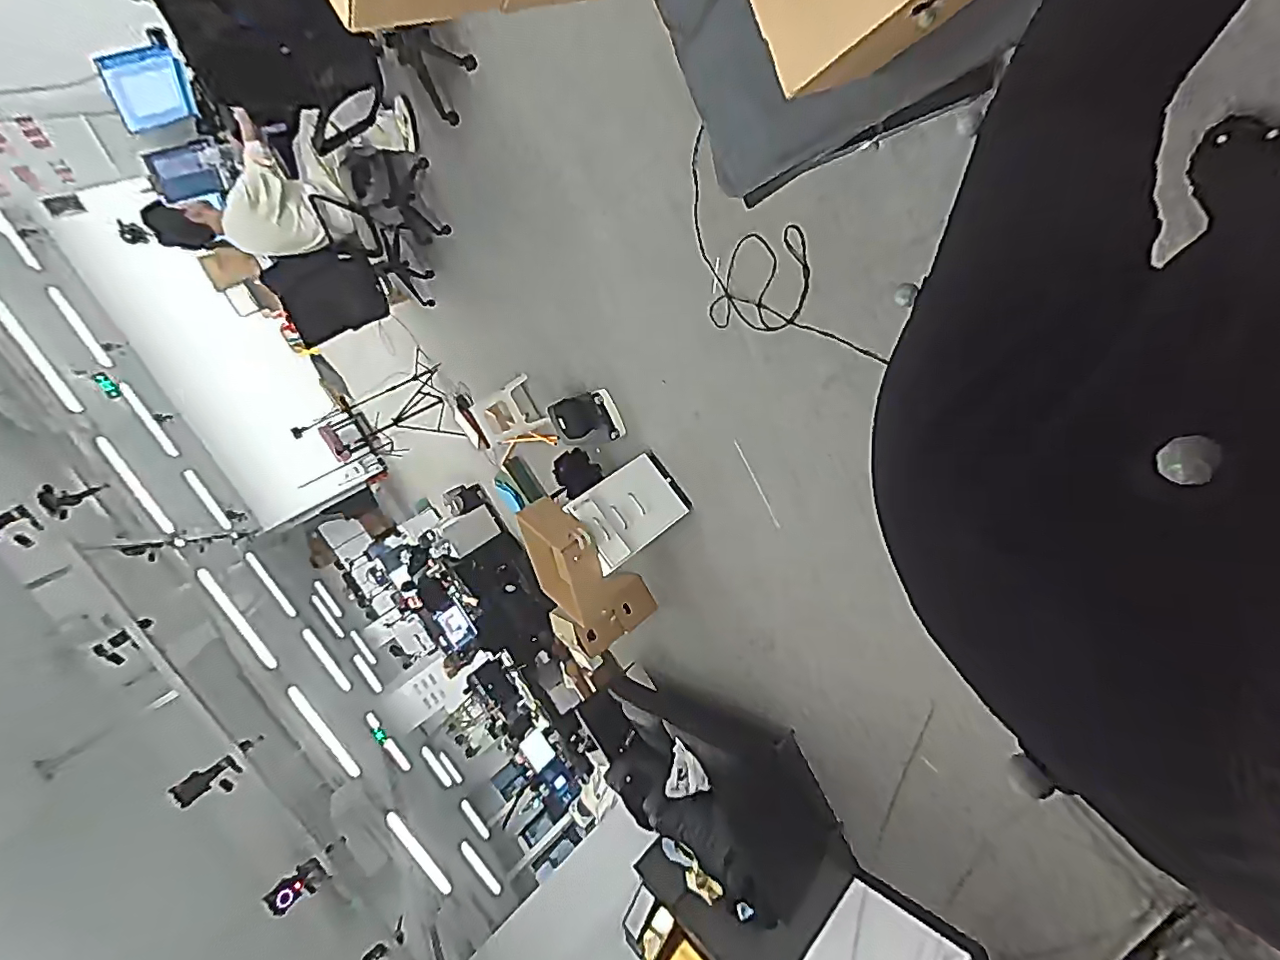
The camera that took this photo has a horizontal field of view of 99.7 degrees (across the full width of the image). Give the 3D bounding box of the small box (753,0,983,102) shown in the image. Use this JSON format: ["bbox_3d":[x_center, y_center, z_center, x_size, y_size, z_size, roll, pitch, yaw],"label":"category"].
[{"bbox_3d":[0.227,-0.508,0.515,0.179,0.176,0.168,-1,119,58],"label":"small box"}]

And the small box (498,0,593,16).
[{"bbox_3d":[-0.084,-0.620,0.533,0.168,0.176,0.179,60,153,-11],"label":"small box"}]
